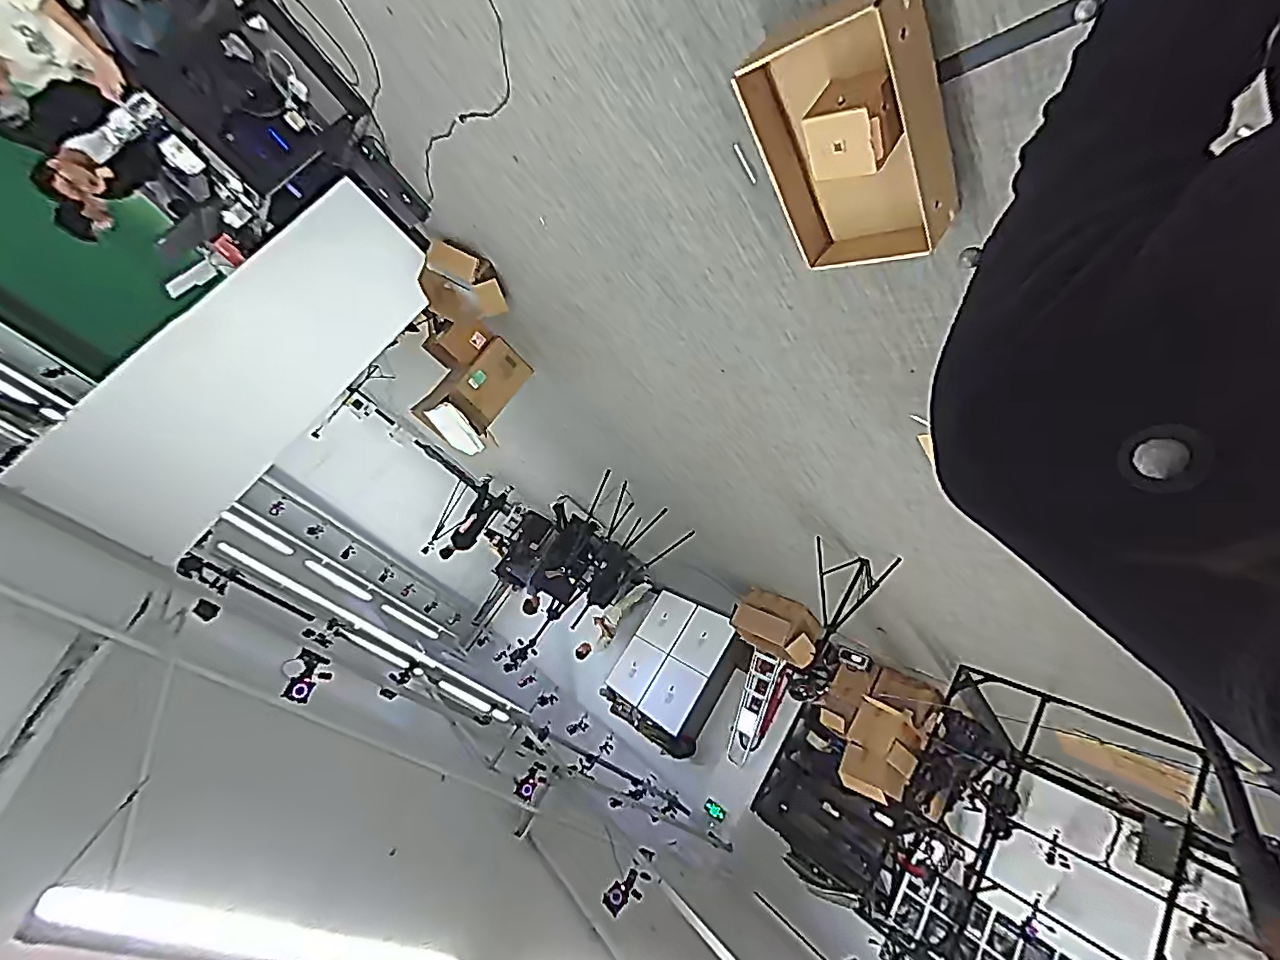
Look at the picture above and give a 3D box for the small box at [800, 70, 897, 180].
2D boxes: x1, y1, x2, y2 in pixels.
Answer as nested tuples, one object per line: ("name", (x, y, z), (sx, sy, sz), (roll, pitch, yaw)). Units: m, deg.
("small box", (0.540, -0.906, 1.385), (0.179, 0.176, 0.168), (19, 157, 40))
